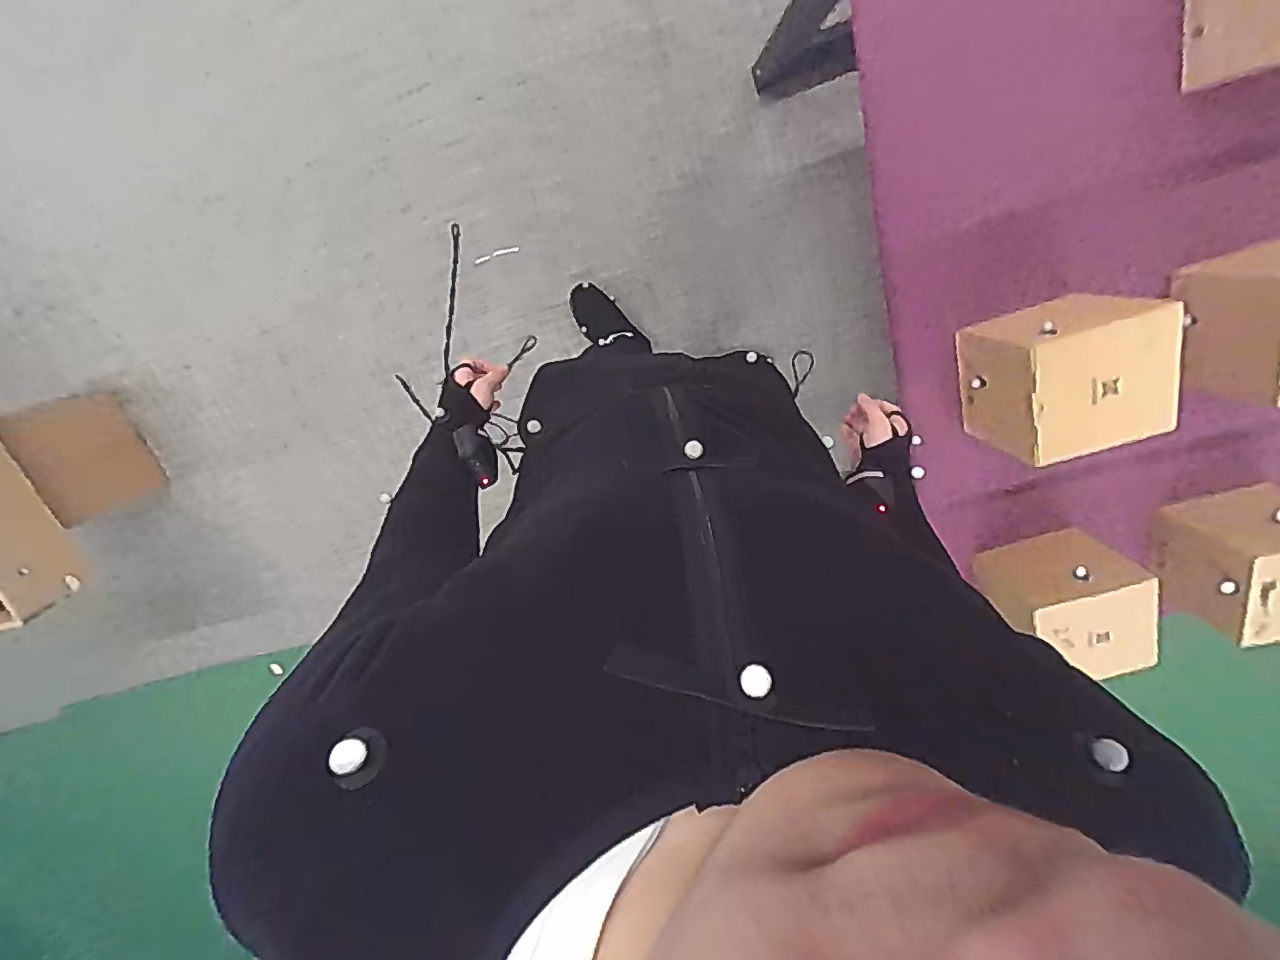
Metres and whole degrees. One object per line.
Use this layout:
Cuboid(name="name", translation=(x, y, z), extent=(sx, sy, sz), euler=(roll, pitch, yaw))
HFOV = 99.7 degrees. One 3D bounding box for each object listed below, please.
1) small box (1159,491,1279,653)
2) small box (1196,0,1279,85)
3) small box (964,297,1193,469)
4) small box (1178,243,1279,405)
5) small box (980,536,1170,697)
Cuboid(name="small box", translation=(0.975, 0.134, 0.839), extent=(0.179, 0.176, 0.168), euler=(-15, 110, 7))
Cuboid(name="small box", translation=(0.743, -0.552, 0.561), extent=(0.179, 0.176, 0.168), euler=(-17, 111, 8))
Cuboid(name="small box", translation=(0.580, -0.140, 0.737), extent=(0.179, 0.176, 0.168), euler=(-17, 111, 8))
Cuboid(name="small box", translation=(0.861, -0.213, 0.701), extent=(0.179, 0.176, 0.168), euler=(-15, 110, 8))
Cuboid(name="small box", translation=(0.691, 0.211, 0.873), extent=(0.179, 0.176, 0.168), euler=(-17, 109, 8))
